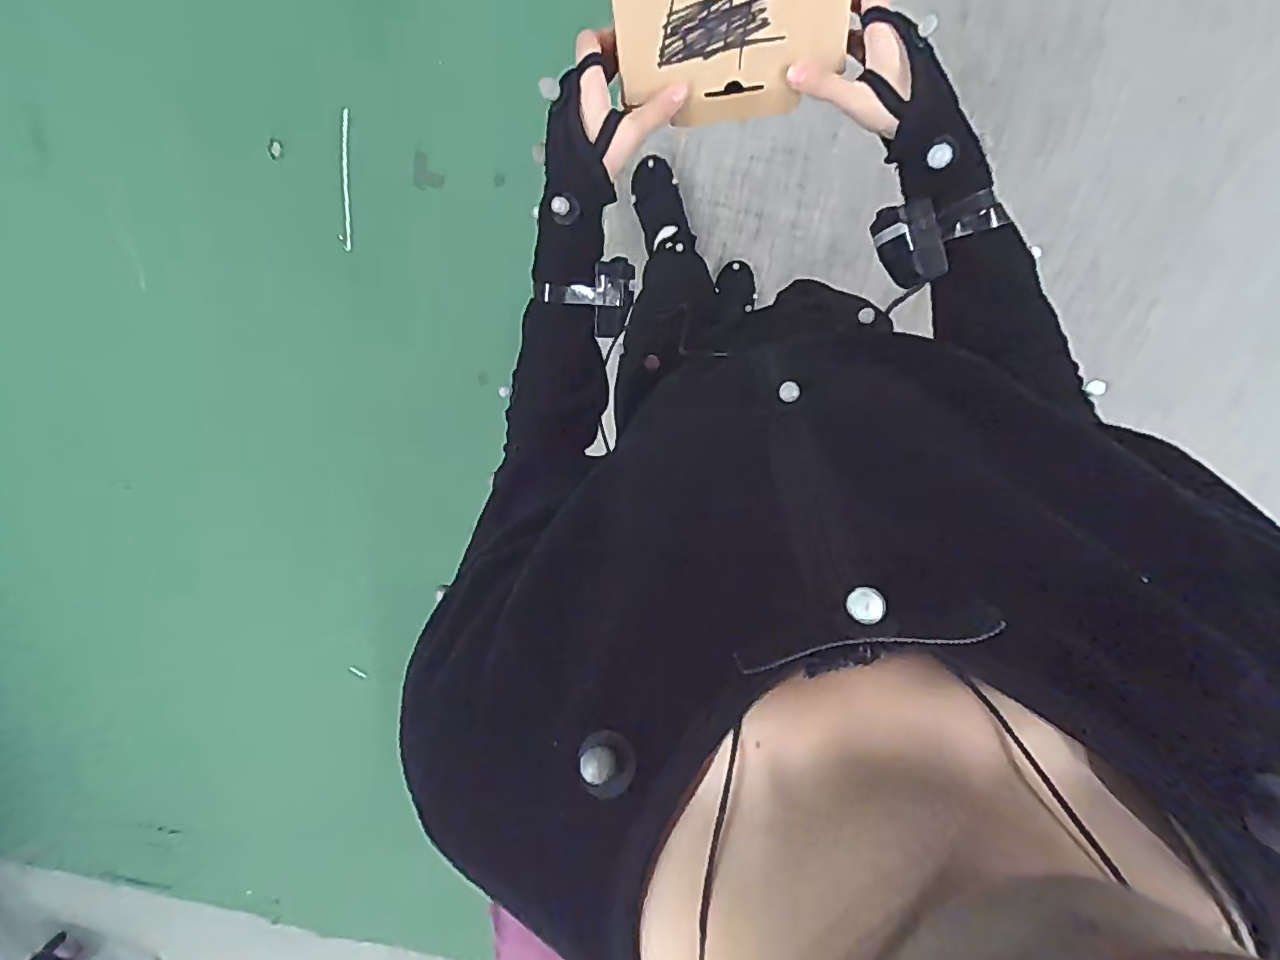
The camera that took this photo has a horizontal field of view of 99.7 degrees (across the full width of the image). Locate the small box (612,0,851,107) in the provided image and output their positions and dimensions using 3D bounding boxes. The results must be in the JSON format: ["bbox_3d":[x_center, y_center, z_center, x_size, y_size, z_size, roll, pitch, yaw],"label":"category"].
[{"bbox_3d":[0.059,-0.405,0.416,0.168,0.176,0.179,-6,126,2],"label":"small box"}]
